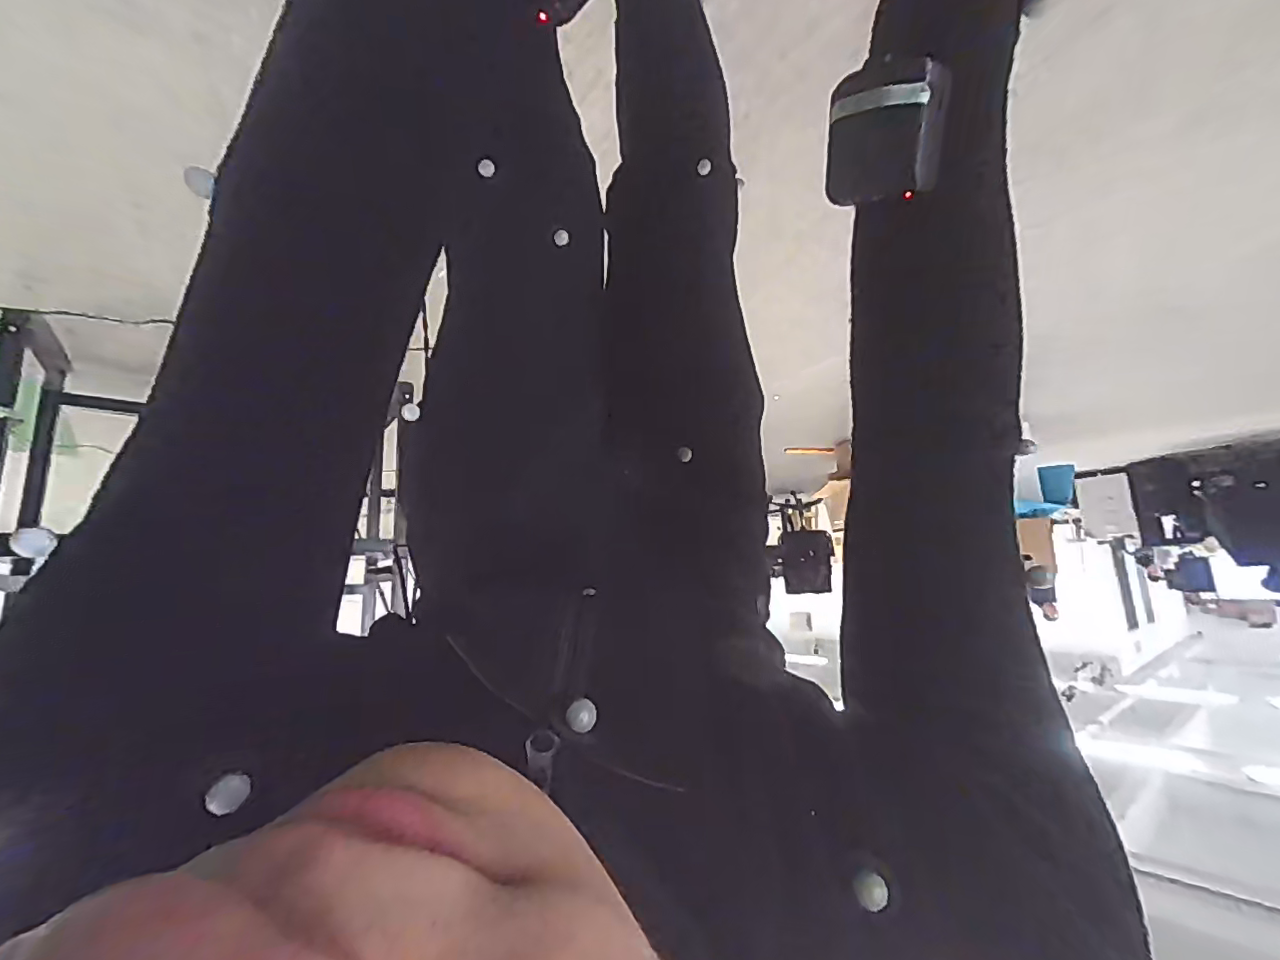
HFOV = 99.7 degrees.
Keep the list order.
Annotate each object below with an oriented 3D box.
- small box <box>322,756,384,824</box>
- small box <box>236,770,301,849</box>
[{"bbox_3d":[-1.062,1.137,2.005,0.179,0.176,0.168,8,164,-36],"label":"small box"},{"bbox_3d":[-1.266,1.112,1.843,0.168,0.176,0.179,7,165,-38],"label":"small box"}]
